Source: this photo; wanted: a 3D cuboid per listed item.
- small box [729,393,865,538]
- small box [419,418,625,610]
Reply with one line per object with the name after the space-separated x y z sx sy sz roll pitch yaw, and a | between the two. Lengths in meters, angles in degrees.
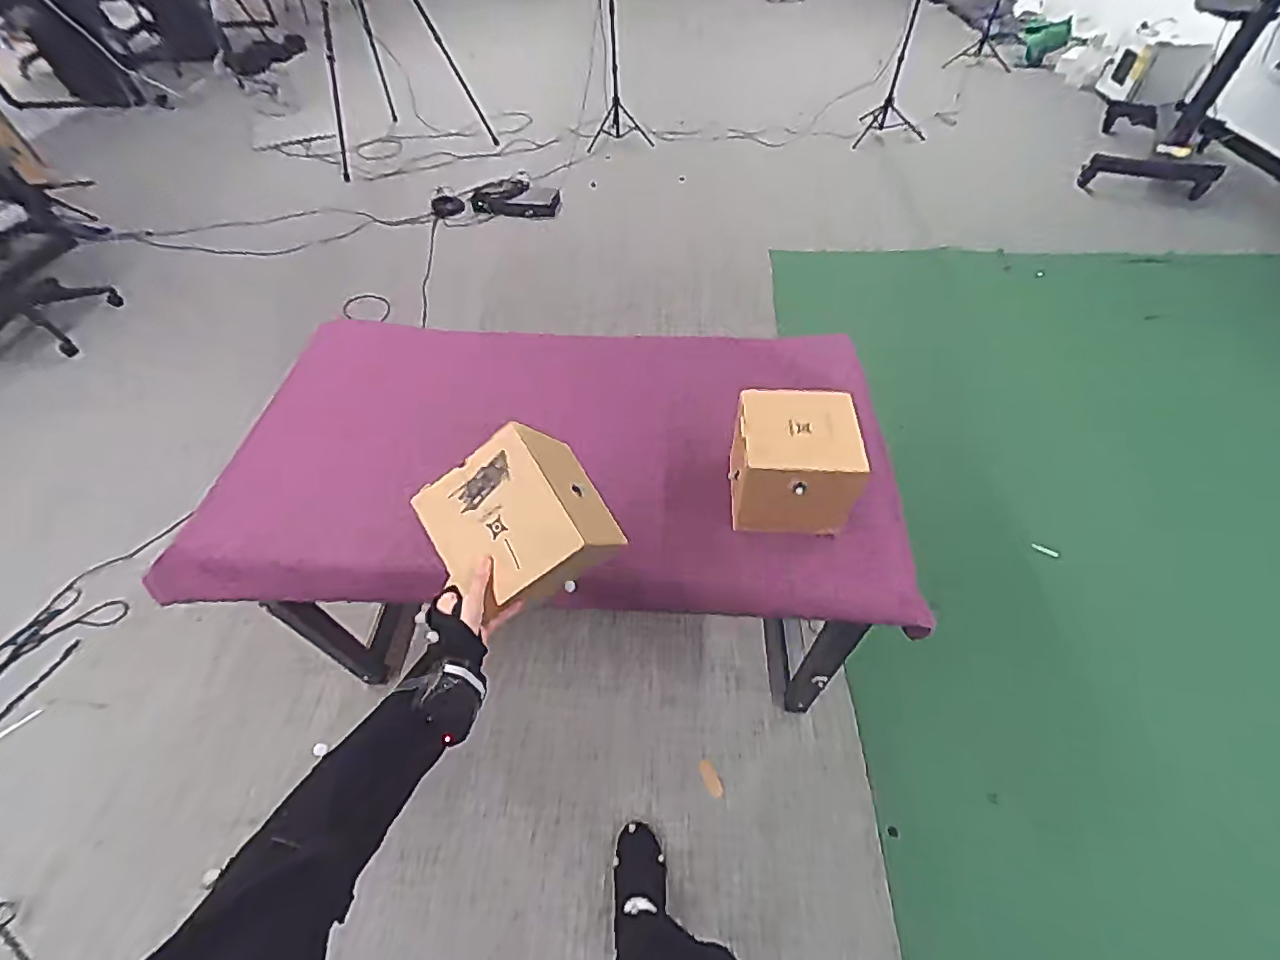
0.238 -0.020 0.873 0.179 0.176 0.168 3 51 3 | small box
-0.144 0.051 0.709 0.168 0.176 0.179 -33 75 9 | small box
